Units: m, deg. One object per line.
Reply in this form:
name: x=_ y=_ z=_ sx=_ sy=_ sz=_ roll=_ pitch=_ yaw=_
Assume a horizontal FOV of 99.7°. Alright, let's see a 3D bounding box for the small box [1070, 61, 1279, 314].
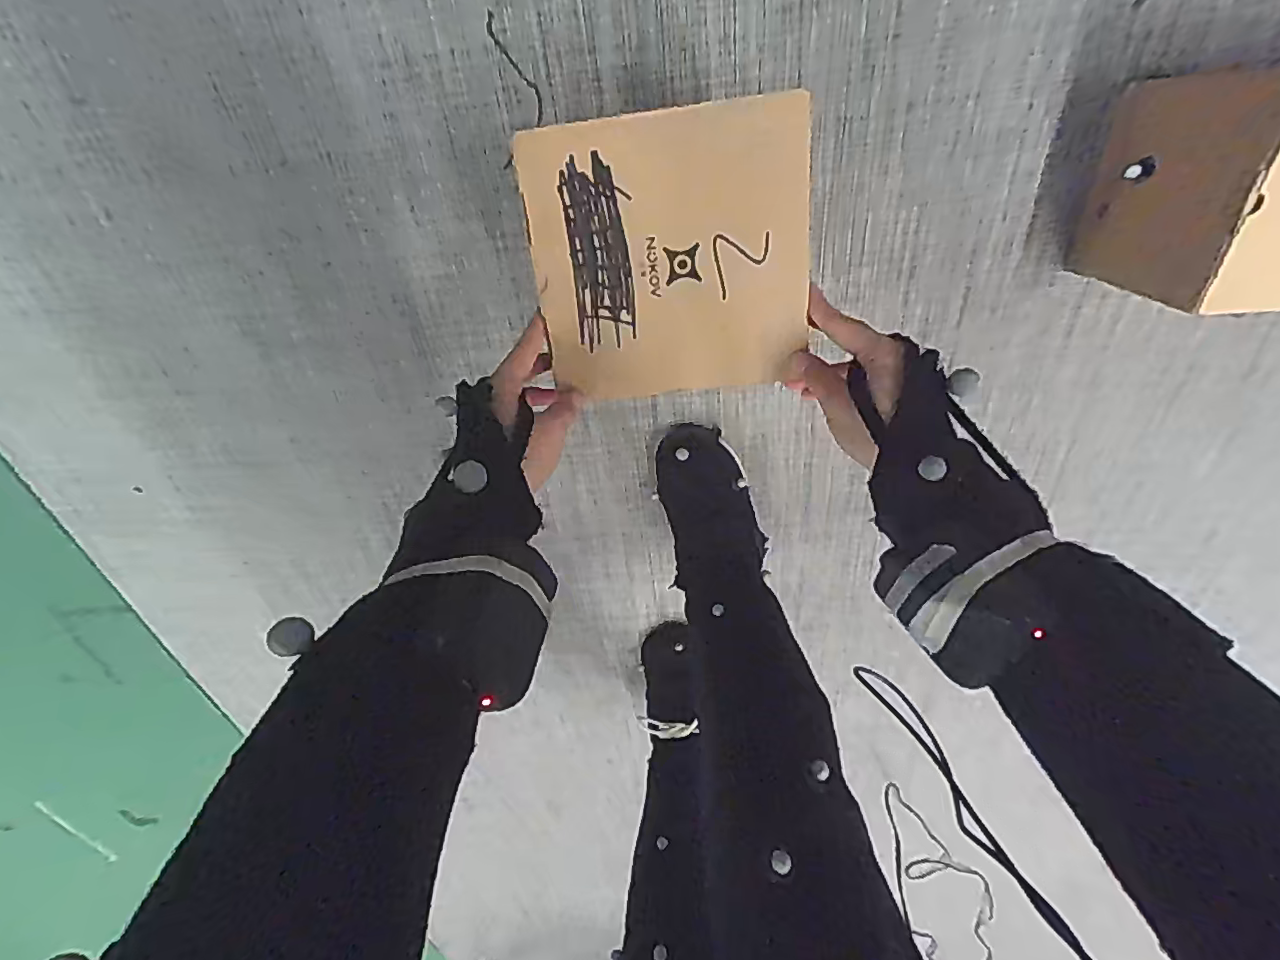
small box: x=0.527 y=-0.250 z=0.453 sx=0.179 sy=0.176 sz=0.168 roll=-2 pitch=124 yaw=4
